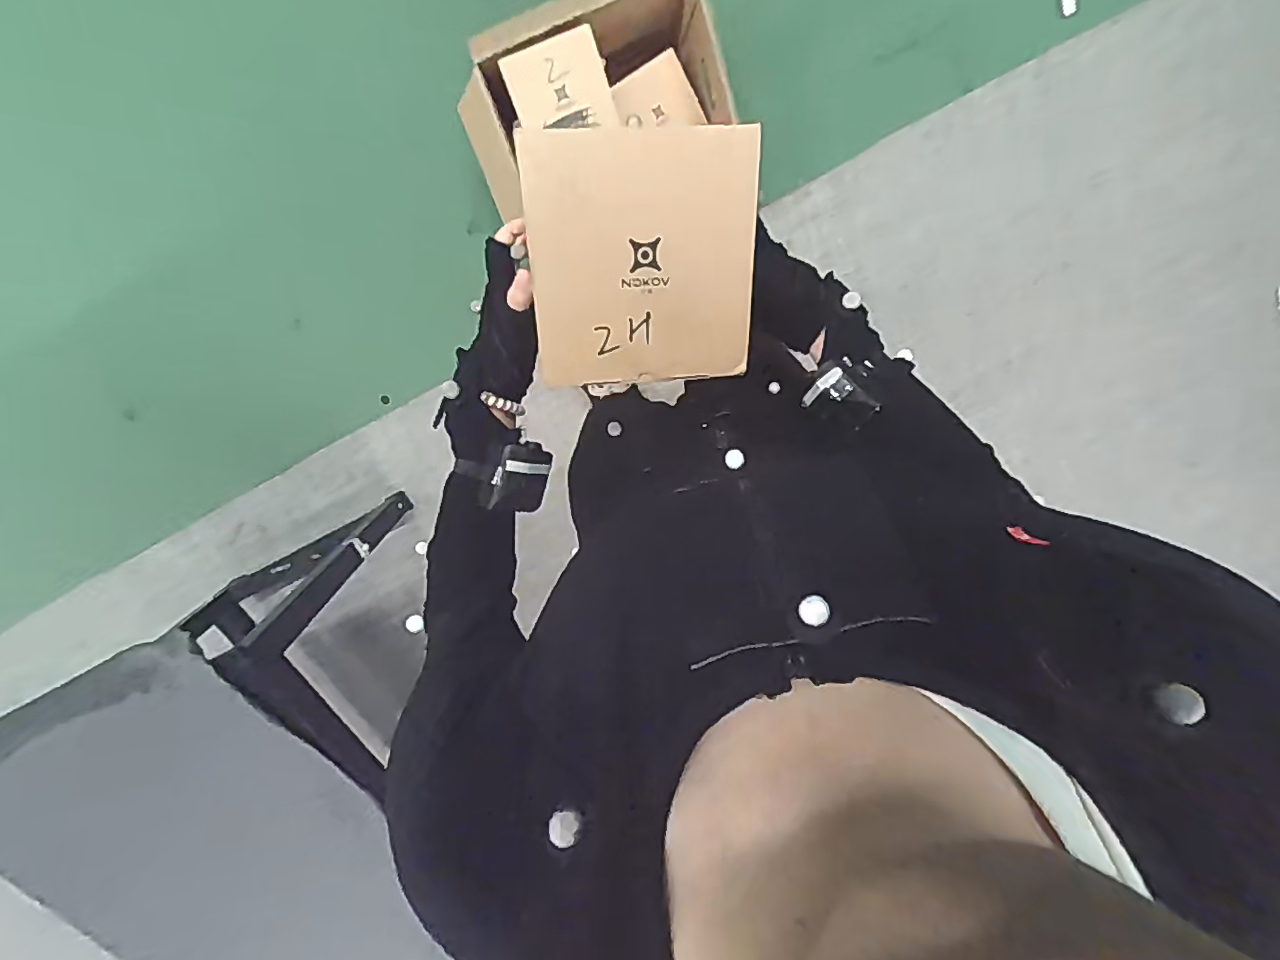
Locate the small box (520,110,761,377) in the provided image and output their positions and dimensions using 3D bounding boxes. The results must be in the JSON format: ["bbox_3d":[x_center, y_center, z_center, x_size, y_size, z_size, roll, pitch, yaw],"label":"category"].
[{"bbox_3d":[-0.007,-0.198,0.462,0.168,0.176,0.179,-4,117,-5],"label":"small box"}]
